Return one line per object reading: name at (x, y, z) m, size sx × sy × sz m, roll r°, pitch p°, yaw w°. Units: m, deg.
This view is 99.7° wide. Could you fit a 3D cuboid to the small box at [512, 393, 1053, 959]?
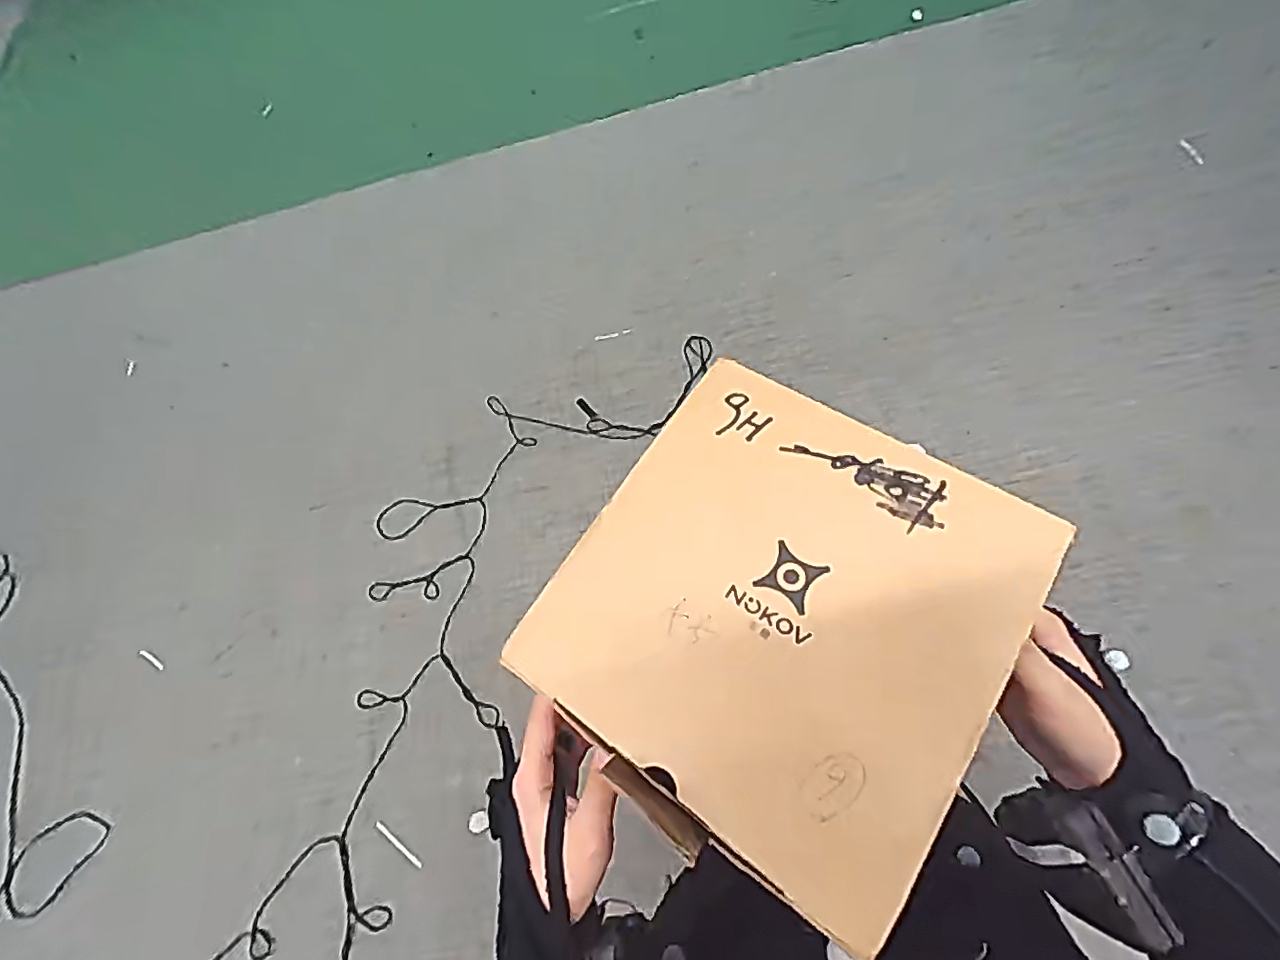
small box at (0.068, 0.092, 0.300) m, size 0.168 × 0.176 × 0.179 m, roll 31°, pitch 75°, yaw 20°
